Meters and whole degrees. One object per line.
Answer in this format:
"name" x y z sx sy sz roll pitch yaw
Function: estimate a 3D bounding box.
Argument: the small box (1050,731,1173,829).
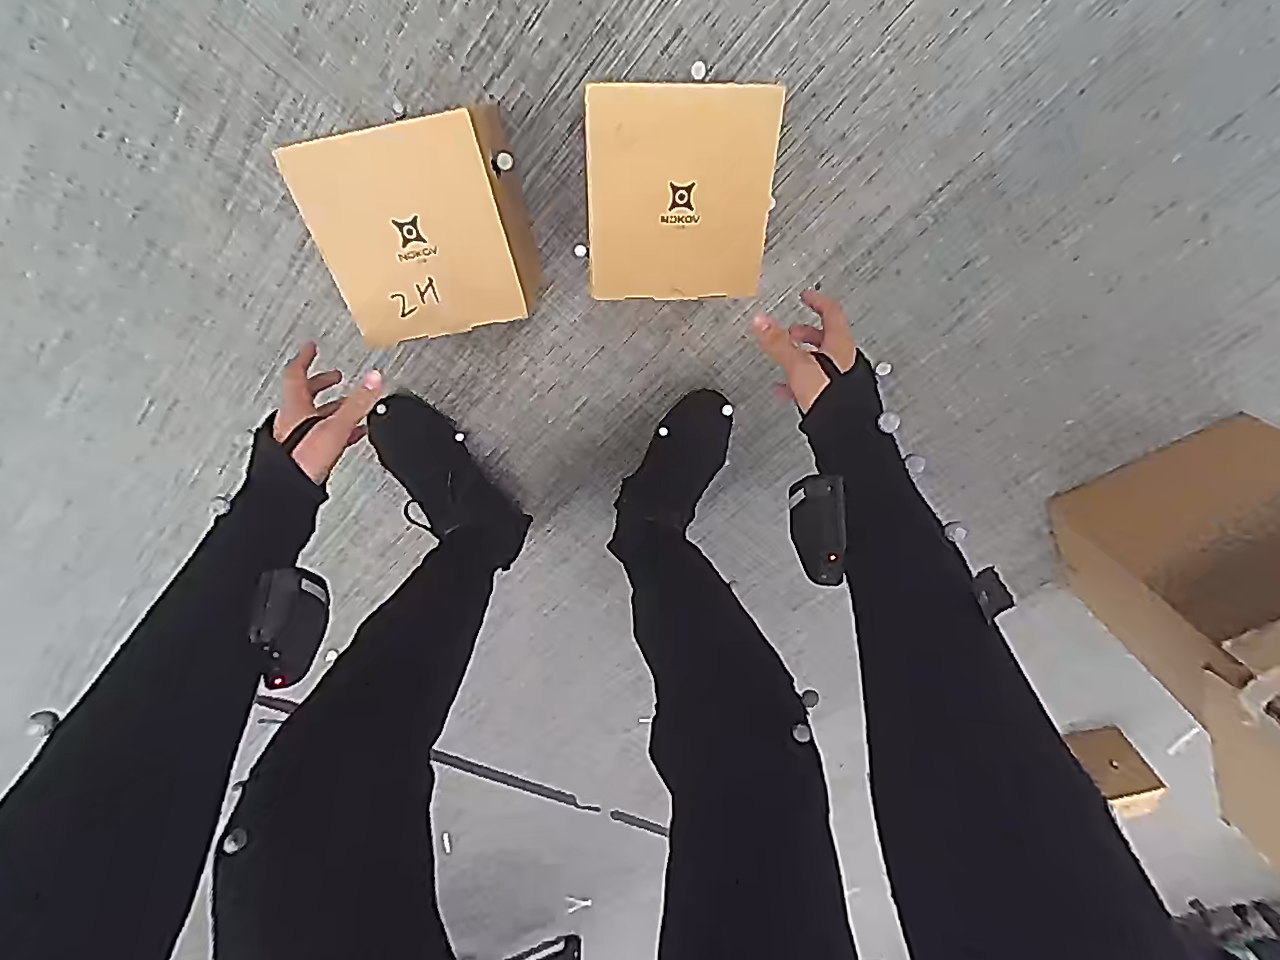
"small box" 1.271 0.816 1.476 0.179 0.176 0.168 -14 126 5

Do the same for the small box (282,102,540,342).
"small box" -0.206 -0.265 0.548 0.168 0.176 0.179 -10 127 3

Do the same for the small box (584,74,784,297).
"small box" 0.030 -0.300 0.549 0.168 0.176 0.179 -3 127 -4
